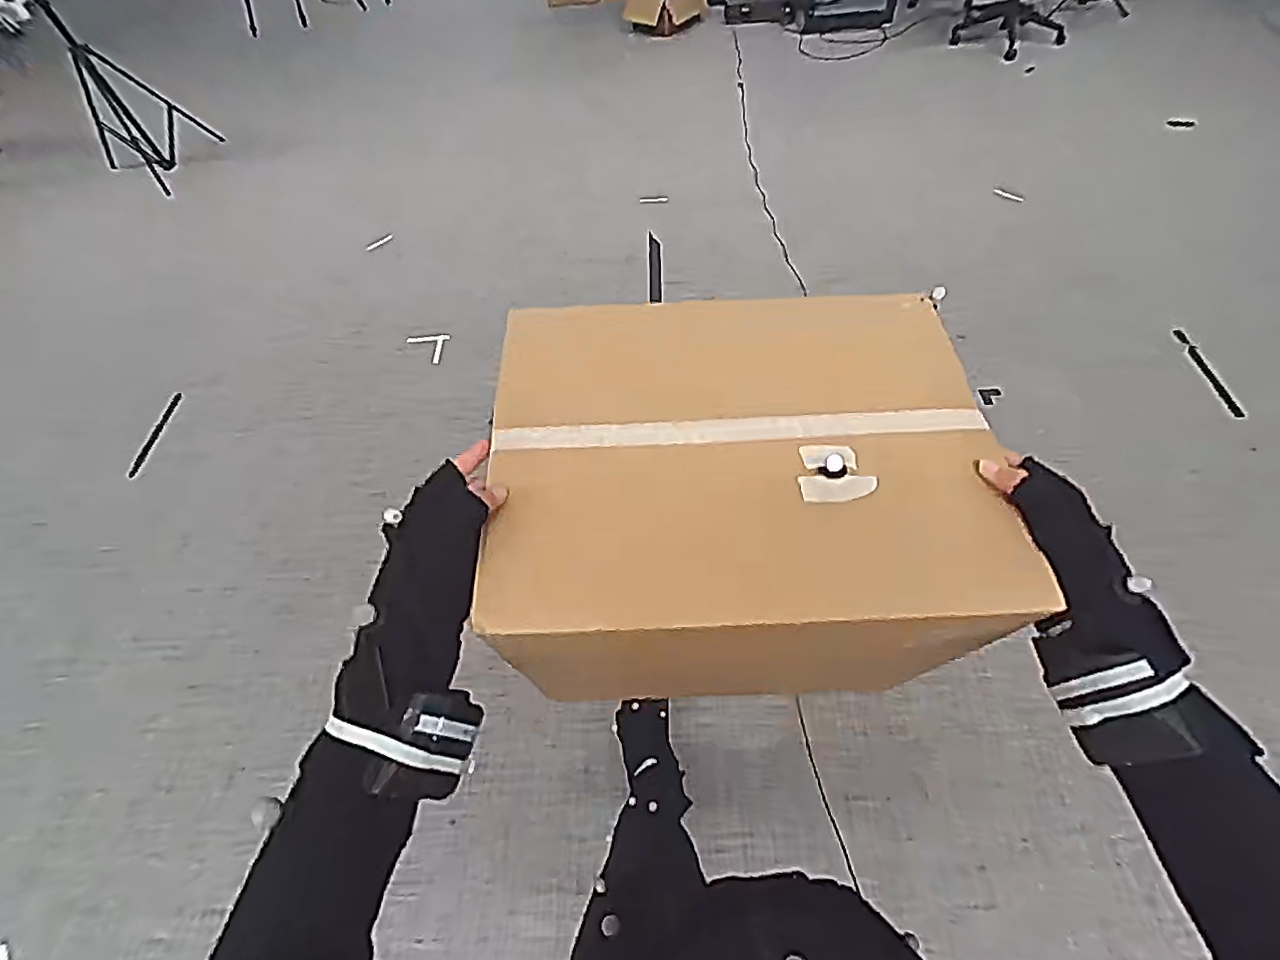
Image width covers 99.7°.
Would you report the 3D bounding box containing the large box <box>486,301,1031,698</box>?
[{"bbox_3d":[0.080,0.039,0.589,0.408,0.320,0.320,-3,60,0],"label":"large box"}]
